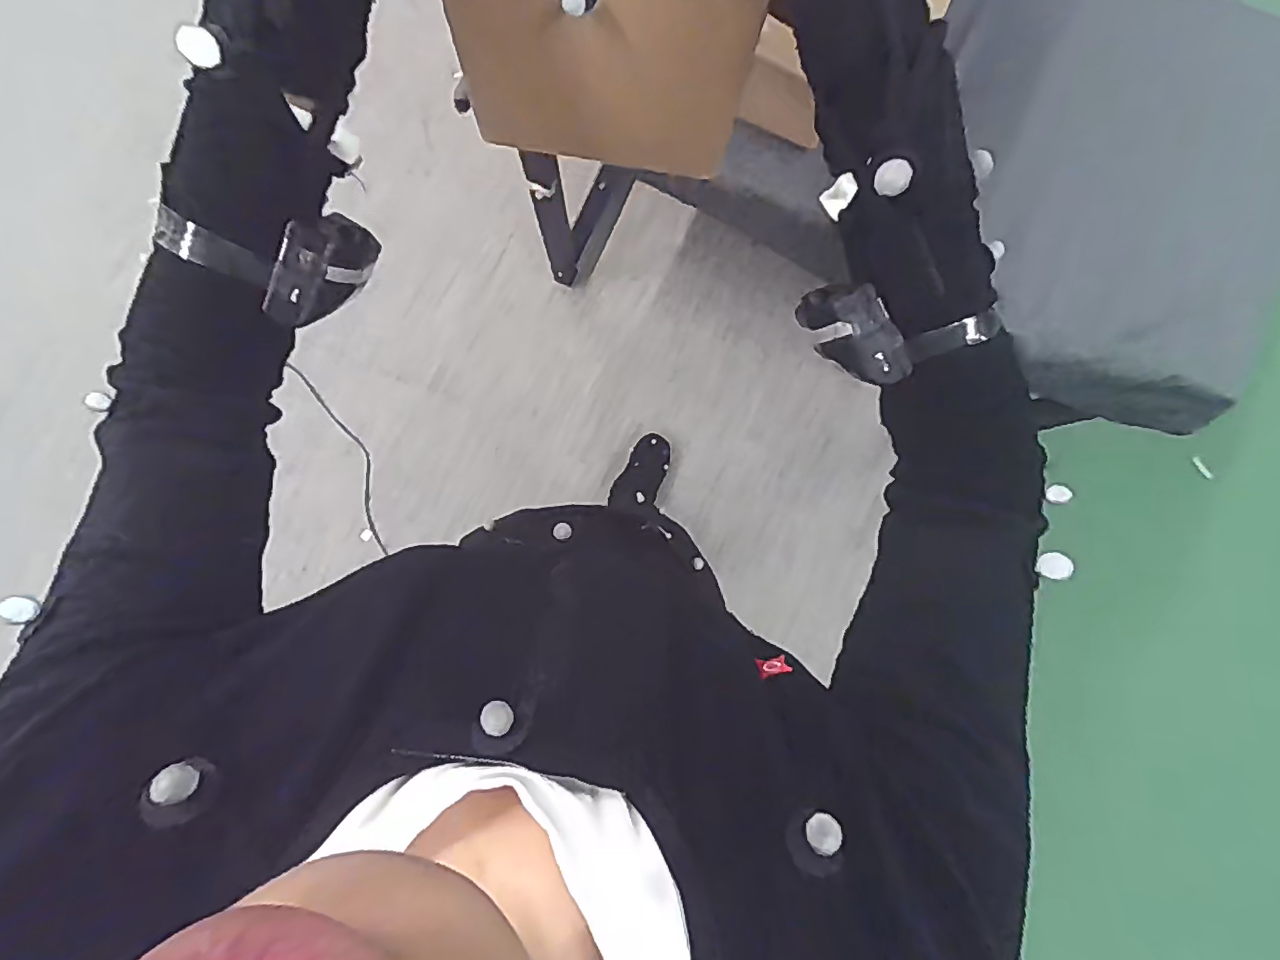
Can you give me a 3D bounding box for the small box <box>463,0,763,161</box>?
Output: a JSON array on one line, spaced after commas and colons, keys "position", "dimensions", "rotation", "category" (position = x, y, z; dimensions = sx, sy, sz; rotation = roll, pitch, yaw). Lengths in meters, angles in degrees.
[{"position": [-0.011, -0.333, 0.332], "dimensions": [0.179, 0.176, 0.168], "rotation": [8, 83, -4], "category": "small box"}]
